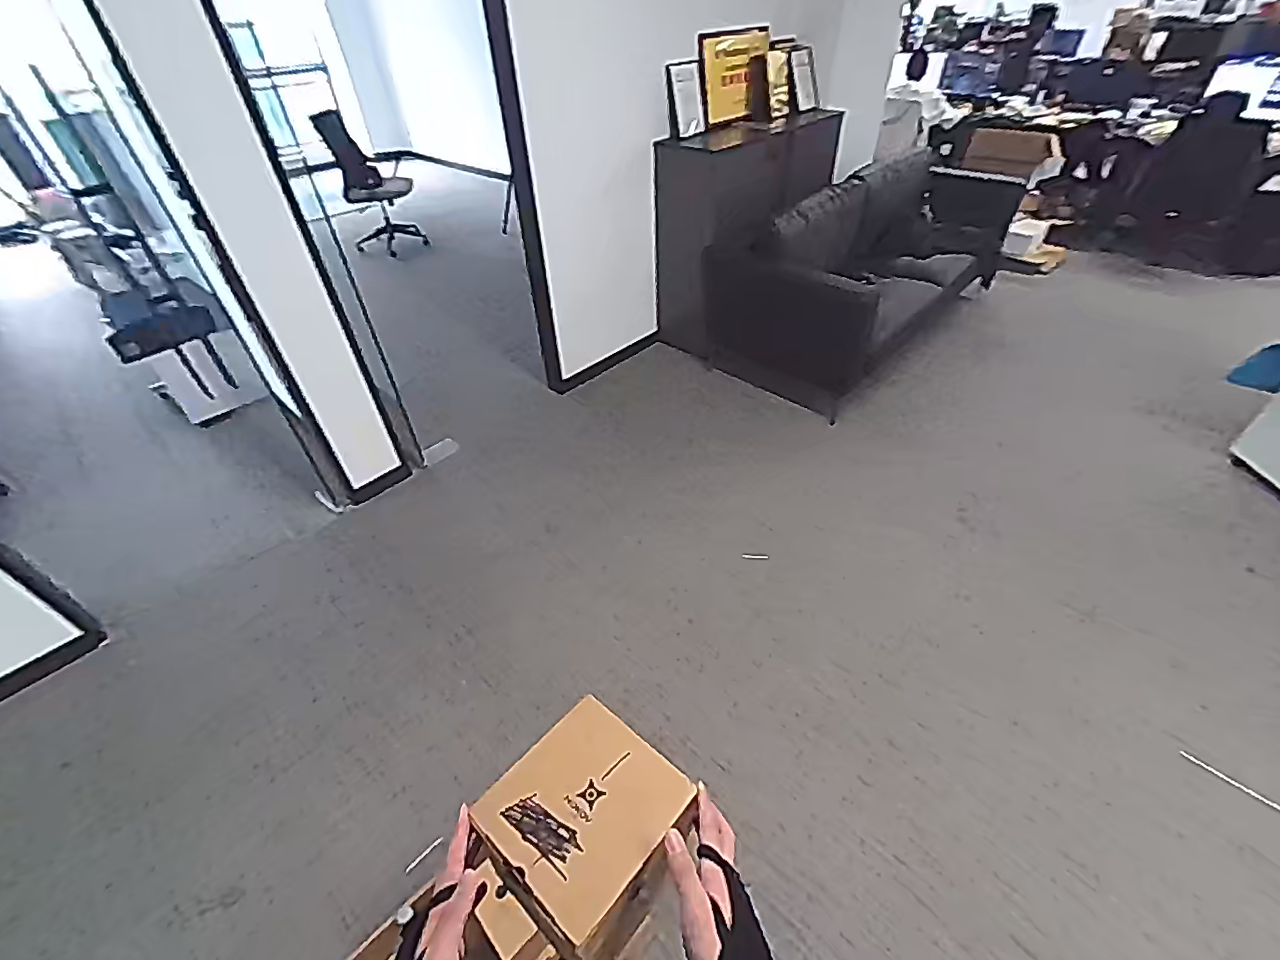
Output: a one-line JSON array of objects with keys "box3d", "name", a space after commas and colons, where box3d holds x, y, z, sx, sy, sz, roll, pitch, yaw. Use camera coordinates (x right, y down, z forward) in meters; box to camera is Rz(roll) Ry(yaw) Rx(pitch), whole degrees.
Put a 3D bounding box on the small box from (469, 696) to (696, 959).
[{"box3d": [-0.055, 0.390, 0.595, 0.168, 0.176, 0.179, 28, 45, 33], "name": "small box"}]
